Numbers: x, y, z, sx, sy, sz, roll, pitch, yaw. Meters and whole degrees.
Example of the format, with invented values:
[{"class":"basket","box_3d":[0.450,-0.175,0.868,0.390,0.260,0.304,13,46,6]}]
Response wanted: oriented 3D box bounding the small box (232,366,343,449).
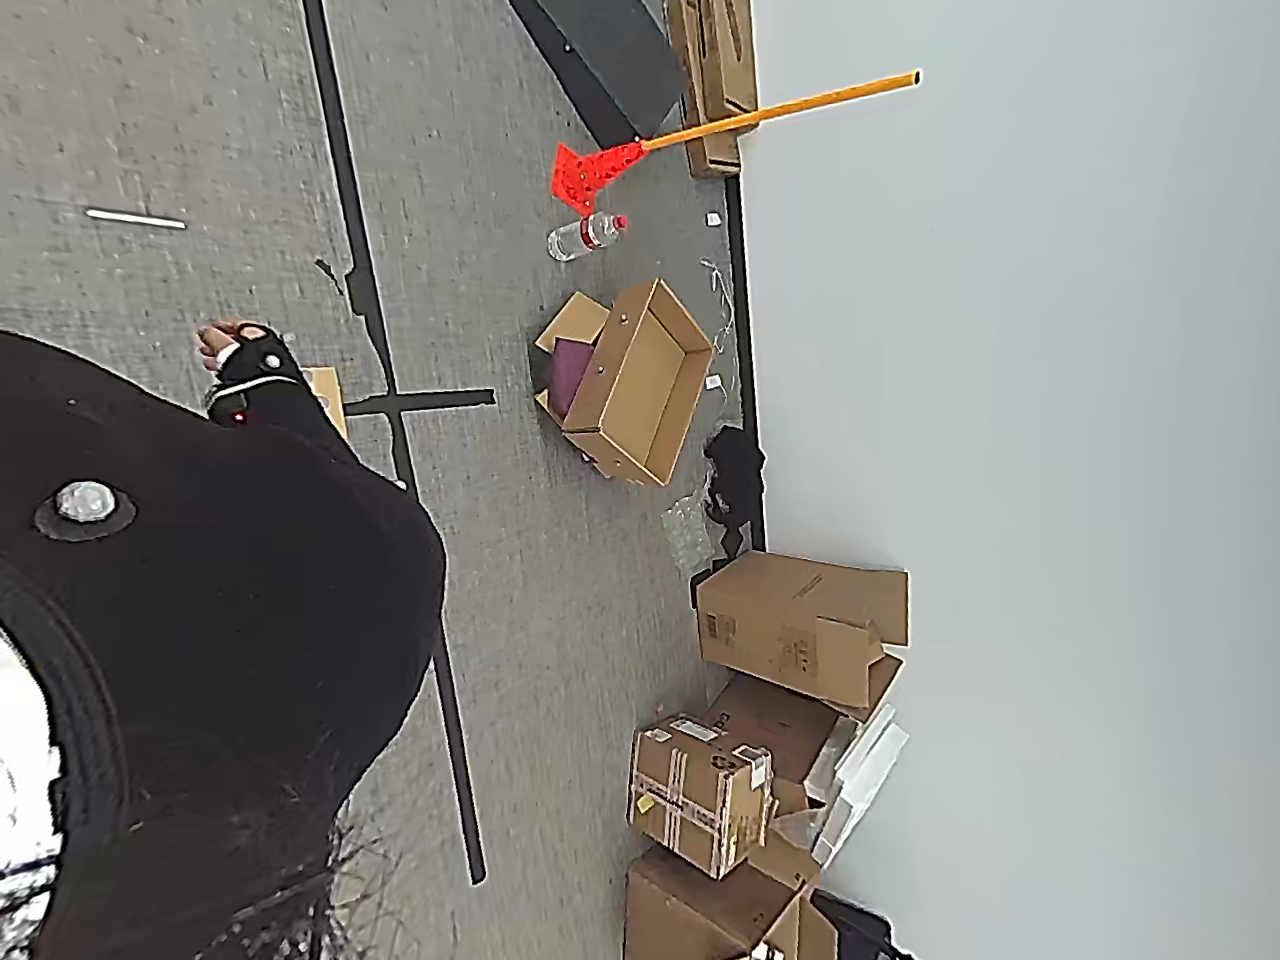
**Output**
[{"class":"small box","box_3d":[-0.831,-0.169,1.273,0.168,0.176,0.179,-16,104,-47]}]
